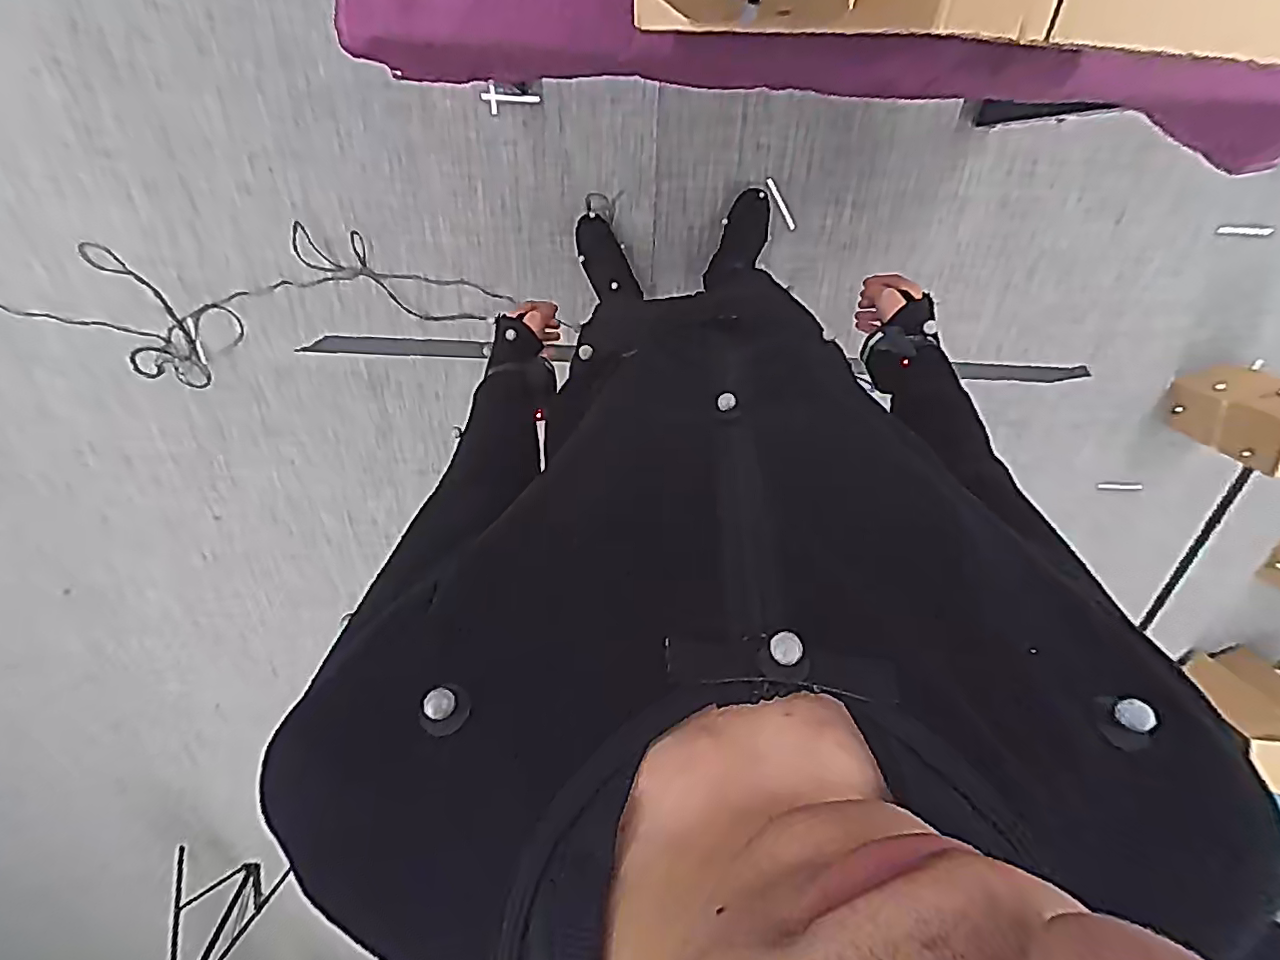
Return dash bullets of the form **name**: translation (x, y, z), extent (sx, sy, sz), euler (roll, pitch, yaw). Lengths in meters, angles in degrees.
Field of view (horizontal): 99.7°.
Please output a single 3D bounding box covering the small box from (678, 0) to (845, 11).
- **small box**: translation (0.099, -0.499, 0.430), extent (0.168, 0.176, 0.179), euler (12, 123, 15)
